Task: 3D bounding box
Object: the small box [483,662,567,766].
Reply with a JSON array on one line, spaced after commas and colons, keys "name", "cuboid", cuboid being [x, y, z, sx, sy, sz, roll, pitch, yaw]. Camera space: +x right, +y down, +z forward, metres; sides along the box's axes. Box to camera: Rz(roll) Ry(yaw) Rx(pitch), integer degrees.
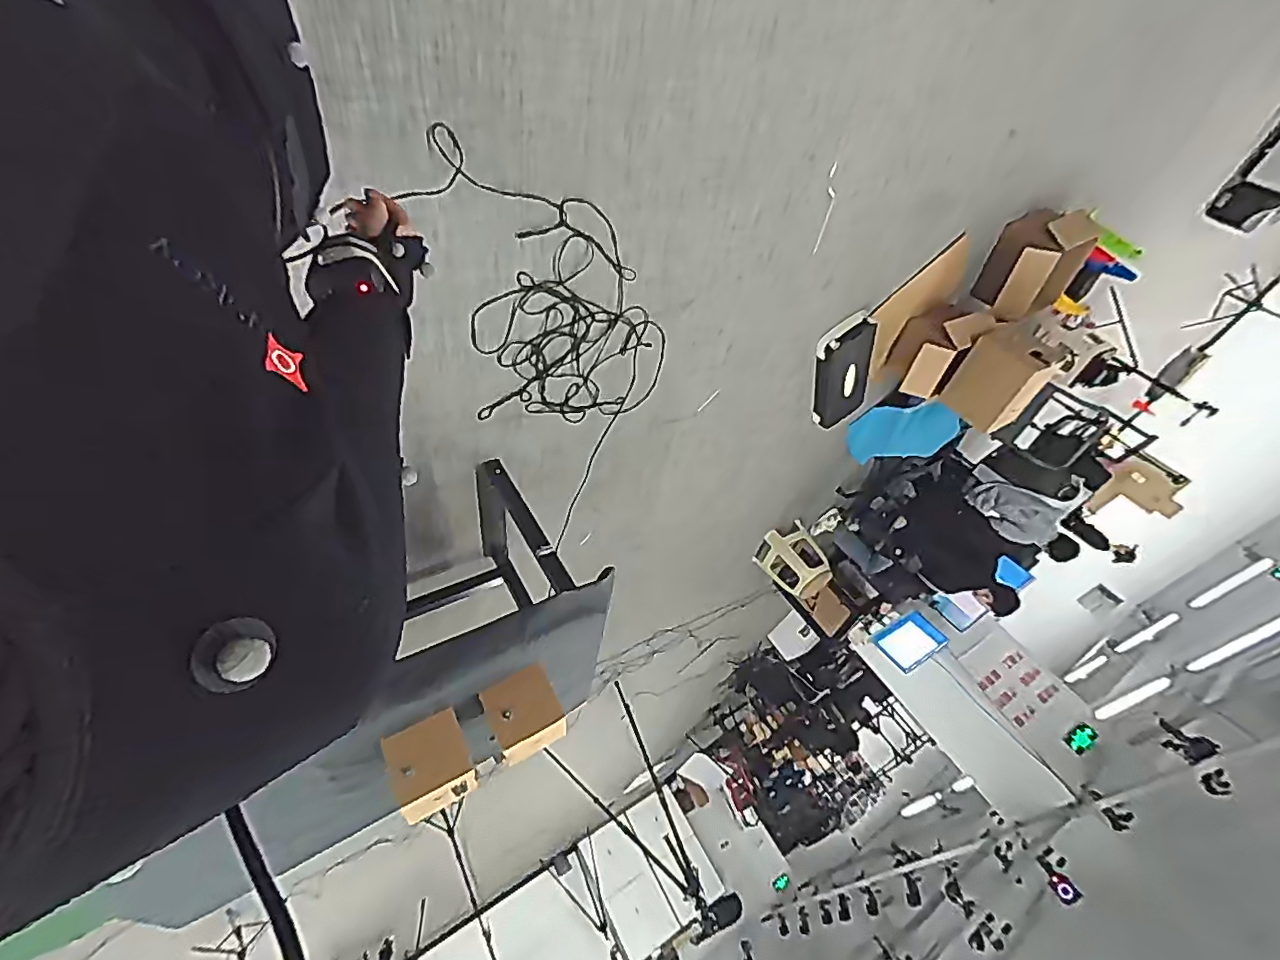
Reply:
[{"name": "small box", "cuboid": [-0.313, 0.629, 1.460, 0.179, 0.176, 0.168, -23, 147, -25]}]
